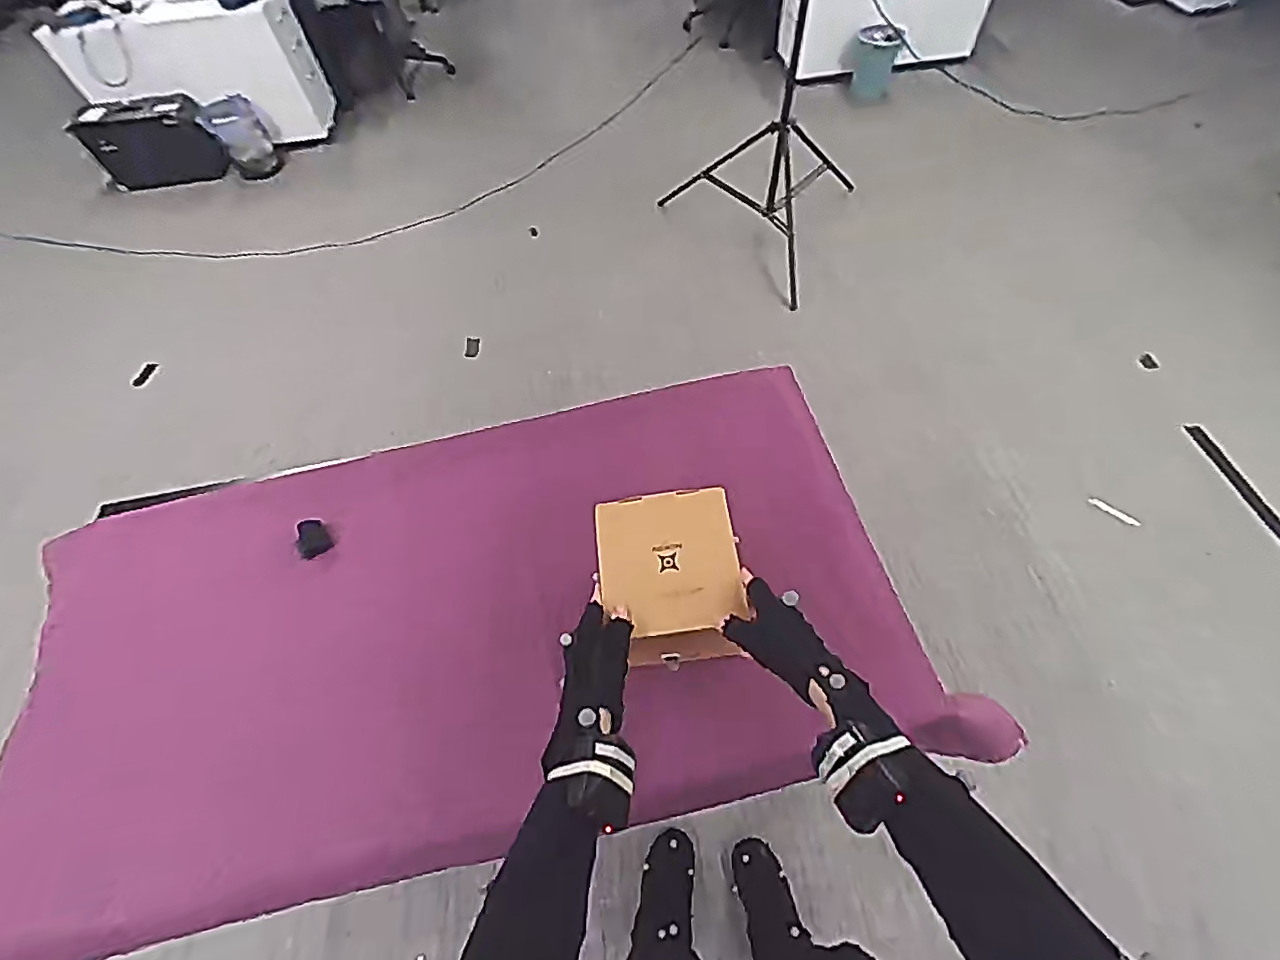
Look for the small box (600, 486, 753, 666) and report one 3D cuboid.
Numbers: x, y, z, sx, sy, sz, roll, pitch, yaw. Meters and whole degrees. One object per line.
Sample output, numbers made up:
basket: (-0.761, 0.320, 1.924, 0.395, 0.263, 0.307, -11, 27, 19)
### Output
small box: (0.044, 0.131, 0.708, 0.168, 0.176, 0.179, -9, 60, 2)
